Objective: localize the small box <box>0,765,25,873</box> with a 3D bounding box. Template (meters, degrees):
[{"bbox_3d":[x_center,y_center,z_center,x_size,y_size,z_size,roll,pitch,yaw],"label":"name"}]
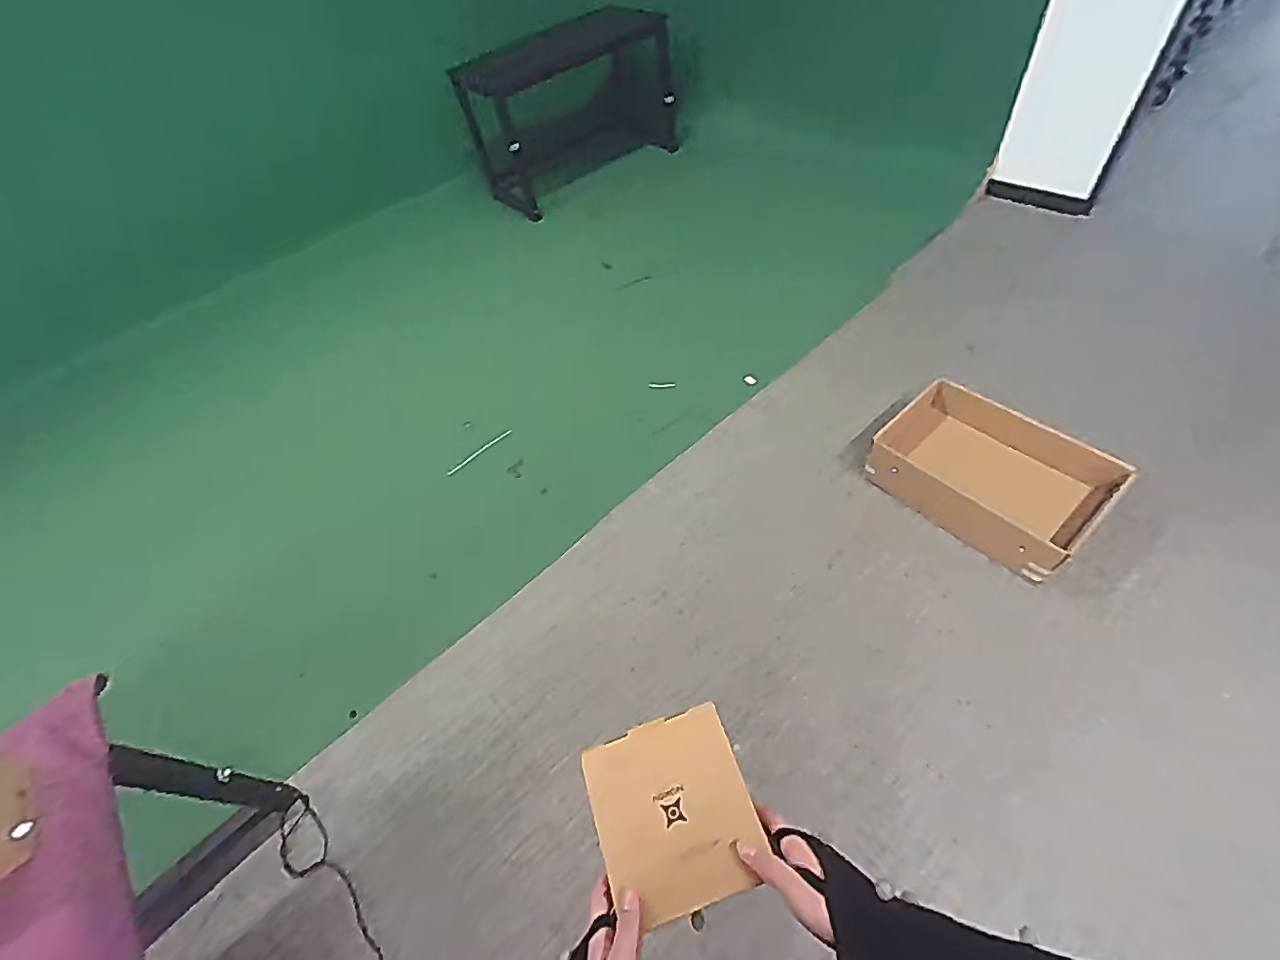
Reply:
[{"bbox_3d":[-1.070,0.534,0.790,0.179,0.176,0.168,-37,57,-15],"label":"small box"}]
